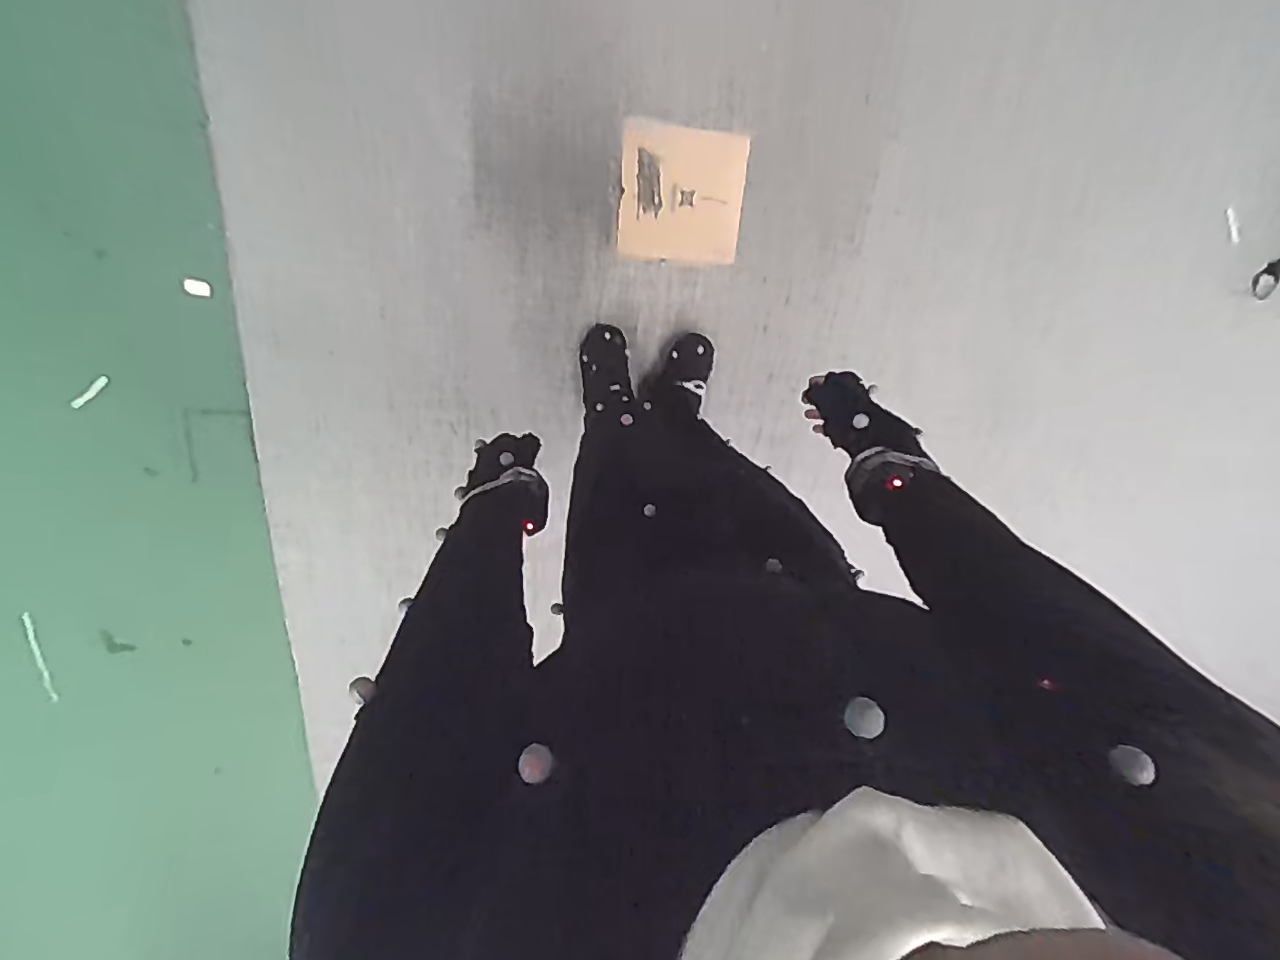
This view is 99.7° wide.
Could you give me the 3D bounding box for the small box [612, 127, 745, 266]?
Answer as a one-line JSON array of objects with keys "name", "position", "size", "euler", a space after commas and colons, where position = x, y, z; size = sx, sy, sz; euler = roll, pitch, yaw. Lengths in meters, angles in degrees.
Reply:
[{"name": "small box", "position": [0.050, -0.430, 0.846], "size": [0.179, 0.176, 0.168], "euler": [4, 113, -5]}]
